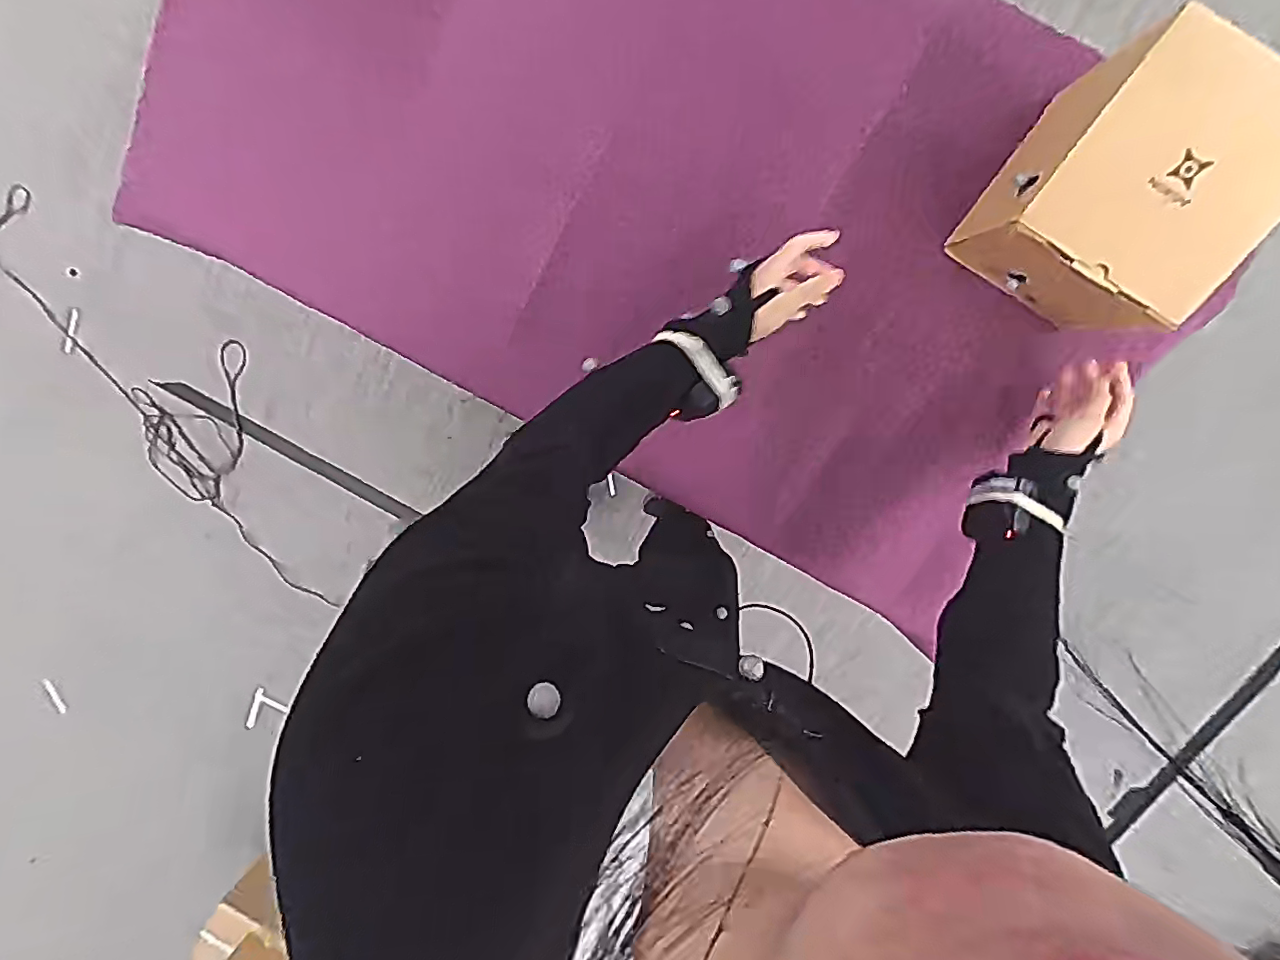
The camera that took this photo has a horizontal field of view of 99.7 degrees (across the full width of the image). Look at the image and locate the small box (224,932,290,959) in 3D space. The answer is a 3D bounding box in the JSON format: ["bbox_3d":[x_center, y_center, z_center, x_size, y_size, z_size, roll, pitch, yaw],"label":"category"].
[{"bbox_3d":[-1.159,1.475,1.565,0.179,0.176,0.168,36,105,-1],"label":"small box"}]

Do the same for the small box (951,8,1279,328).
[{"bbox_3d":[0.437,-0.263,0.506,0.168,0.176,0.179,33,109,-1],"label":"small box"}]
